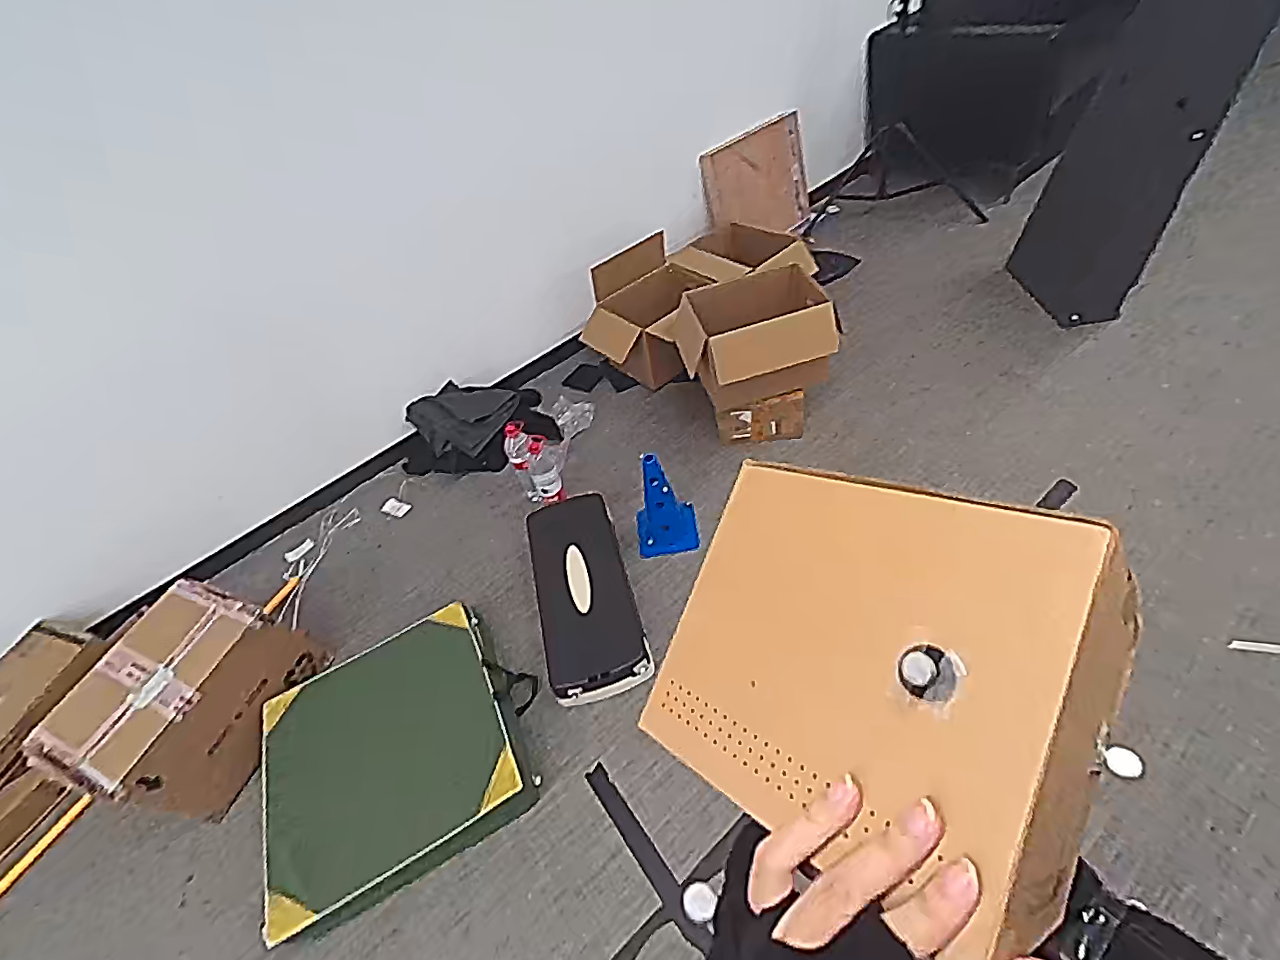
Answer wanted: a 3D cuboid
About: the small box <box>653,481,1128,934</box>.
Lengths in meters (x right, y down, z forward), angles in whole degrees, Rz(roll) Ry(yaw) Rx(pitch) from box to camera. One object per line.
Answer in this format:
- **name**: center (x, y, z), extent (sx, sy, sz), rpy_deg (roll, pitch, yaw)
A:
- **small box**: center (0.140, 0.119, 0.315), extent (0.179, 0.168, 0.176), rpy_deg (14, 77, 50)
